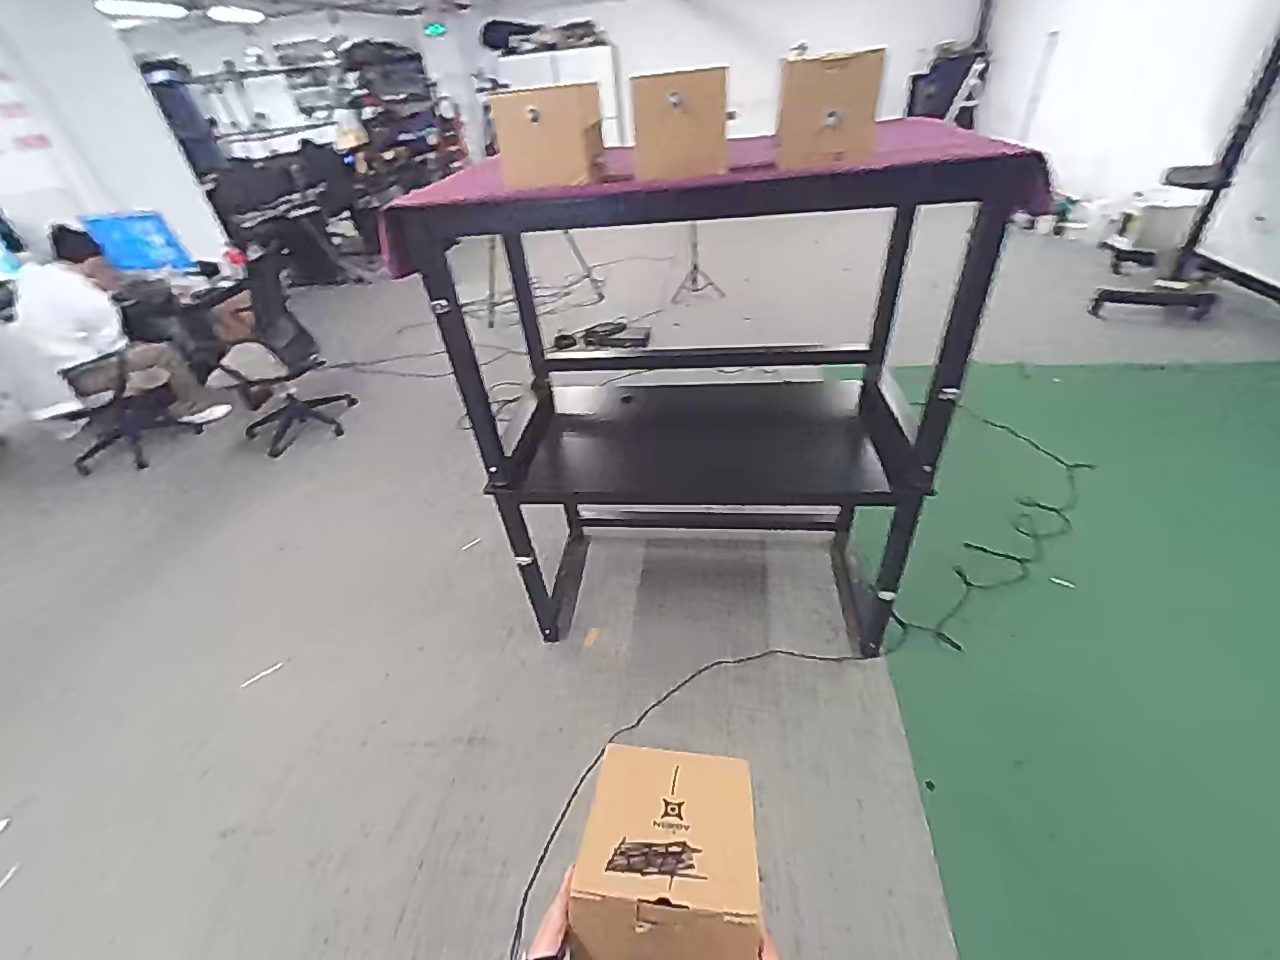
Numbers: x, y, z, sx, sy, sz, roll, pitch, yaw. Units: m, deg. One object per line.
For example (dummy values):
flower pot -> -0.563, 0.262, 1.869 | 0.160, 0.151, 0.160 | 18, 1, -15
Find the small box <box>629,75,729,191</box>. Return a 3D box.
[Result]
small box -> 0.083, -0.678, 1.058 | 0.179, 0.176, 0.168 | -1, 36, 9

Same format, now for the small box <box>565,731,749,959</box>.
small box -> 0.025, 0.401, 0.569 | 0.168, 0.176, 0.179 | 3, 15, 7

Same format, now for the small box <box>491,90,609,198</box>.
small box -> -0.171, -0.678, 1.095 | 0.179, 0.176, 0.168 | 3, 38, 11
